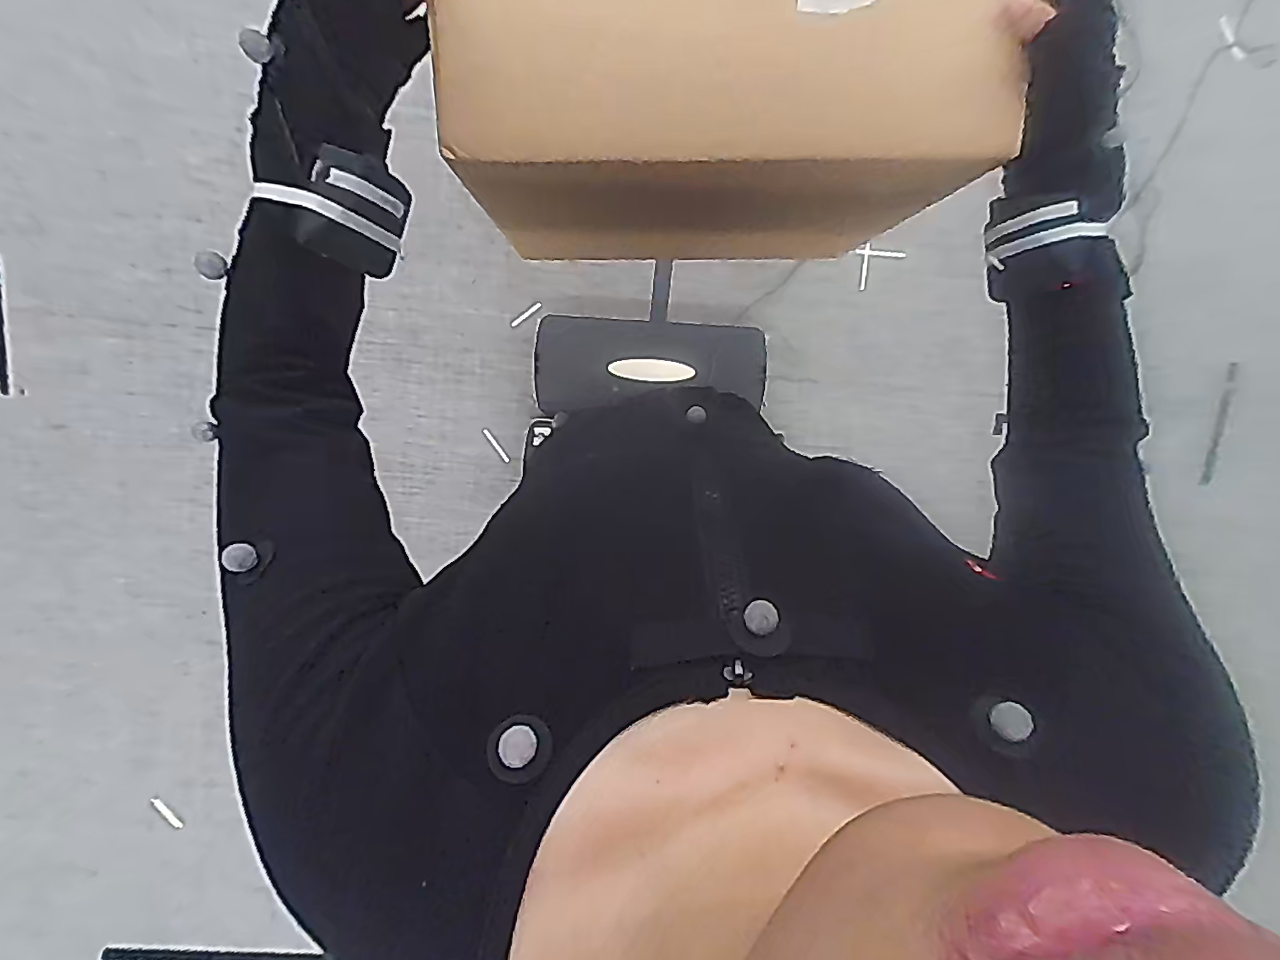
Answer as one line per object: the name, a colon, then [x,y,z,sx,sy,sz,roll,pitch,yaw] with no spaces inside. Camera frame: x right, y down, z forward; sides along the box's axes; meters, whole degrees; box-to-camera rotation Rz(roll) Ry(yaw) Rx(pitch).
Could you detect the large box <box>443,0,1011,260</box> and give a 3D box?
large box: [0.053,-0.409,0.510,0.408,0.320,0.320,-2,100,-3]
